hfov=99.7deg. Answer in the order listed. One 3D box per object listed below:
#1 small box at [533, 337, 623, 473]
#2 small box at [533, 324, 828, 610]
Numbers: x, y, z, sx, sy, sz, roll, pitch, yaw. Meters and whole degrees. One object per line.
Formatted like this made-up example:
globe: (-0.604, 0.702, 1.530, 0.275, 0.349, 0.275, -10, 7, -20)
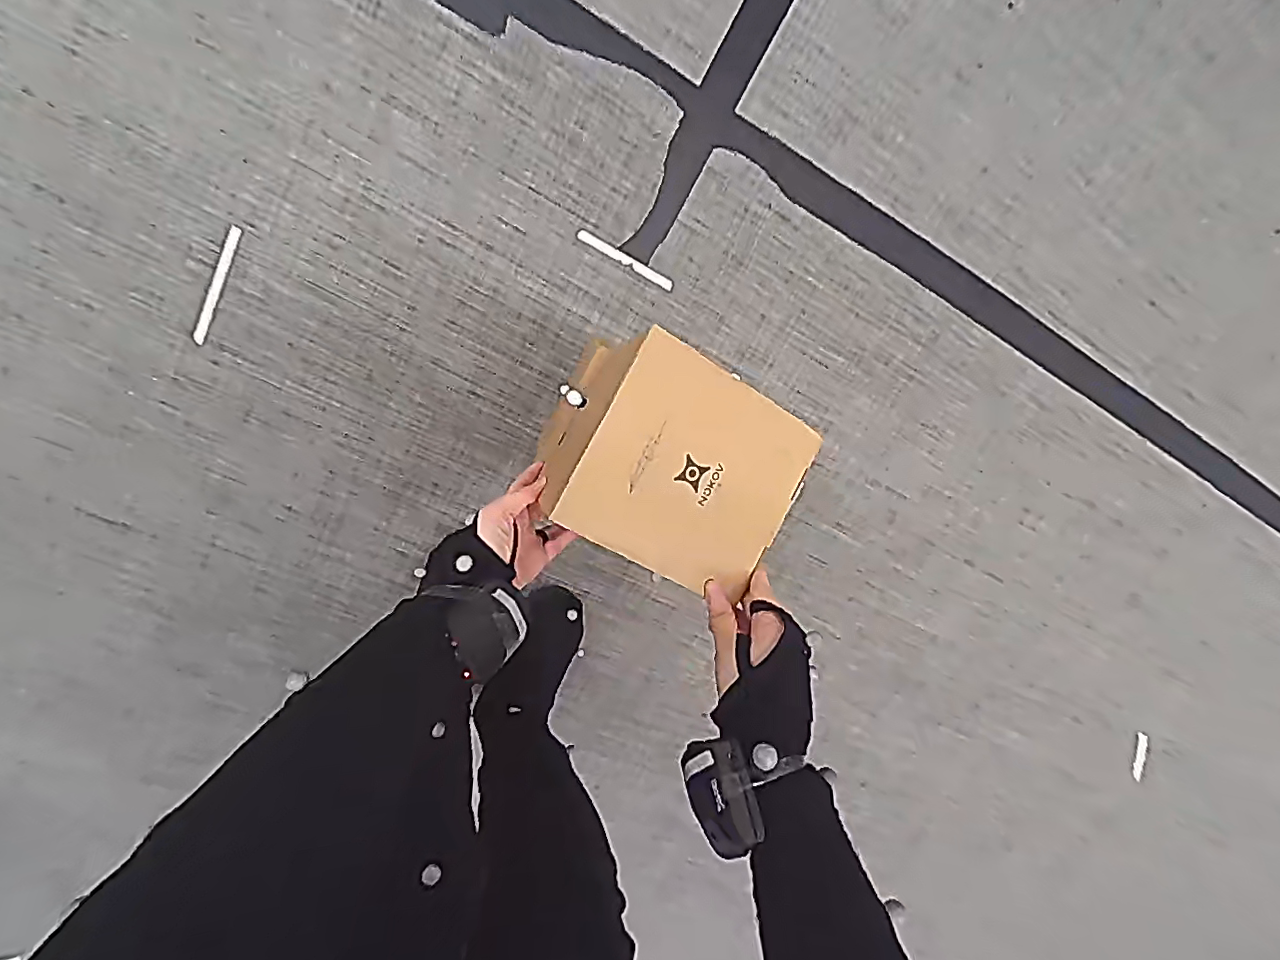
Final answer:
small box: (-0.014, -0.064, 0.668, 0.179, 0.176, 0.168, 26, 104, -16)
small box: (0.022, -0.015, 0.486, 0.179, 0.176, 0.168, 30, 88, -17)
